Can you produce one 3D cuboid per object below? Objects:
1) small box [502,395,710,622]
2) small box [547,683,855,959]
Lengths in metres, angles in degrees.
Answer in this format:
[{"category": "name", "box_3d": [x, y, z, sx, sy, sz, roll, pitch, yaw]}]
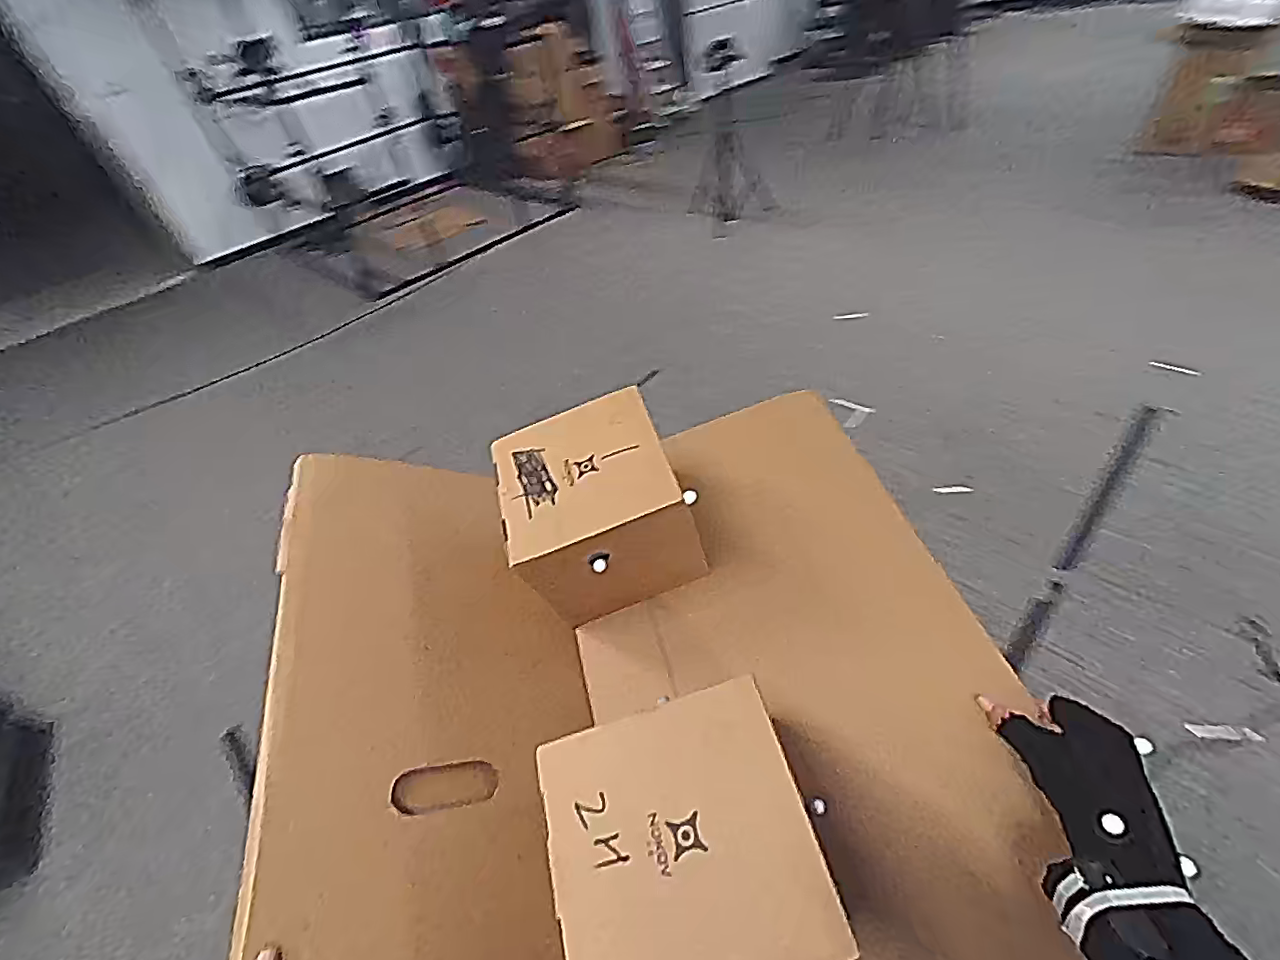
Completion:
[{"category": "small box", "box_3d": [-0.035, 0.041, 0.621, 0.179, 0.176, 0.168, -21, 53, 2]}, {"category": "small box", "box_3d": [0.046, 0.283, 0.429, 0.179, 0.176, 0.168, -20, 53, 5]}]
